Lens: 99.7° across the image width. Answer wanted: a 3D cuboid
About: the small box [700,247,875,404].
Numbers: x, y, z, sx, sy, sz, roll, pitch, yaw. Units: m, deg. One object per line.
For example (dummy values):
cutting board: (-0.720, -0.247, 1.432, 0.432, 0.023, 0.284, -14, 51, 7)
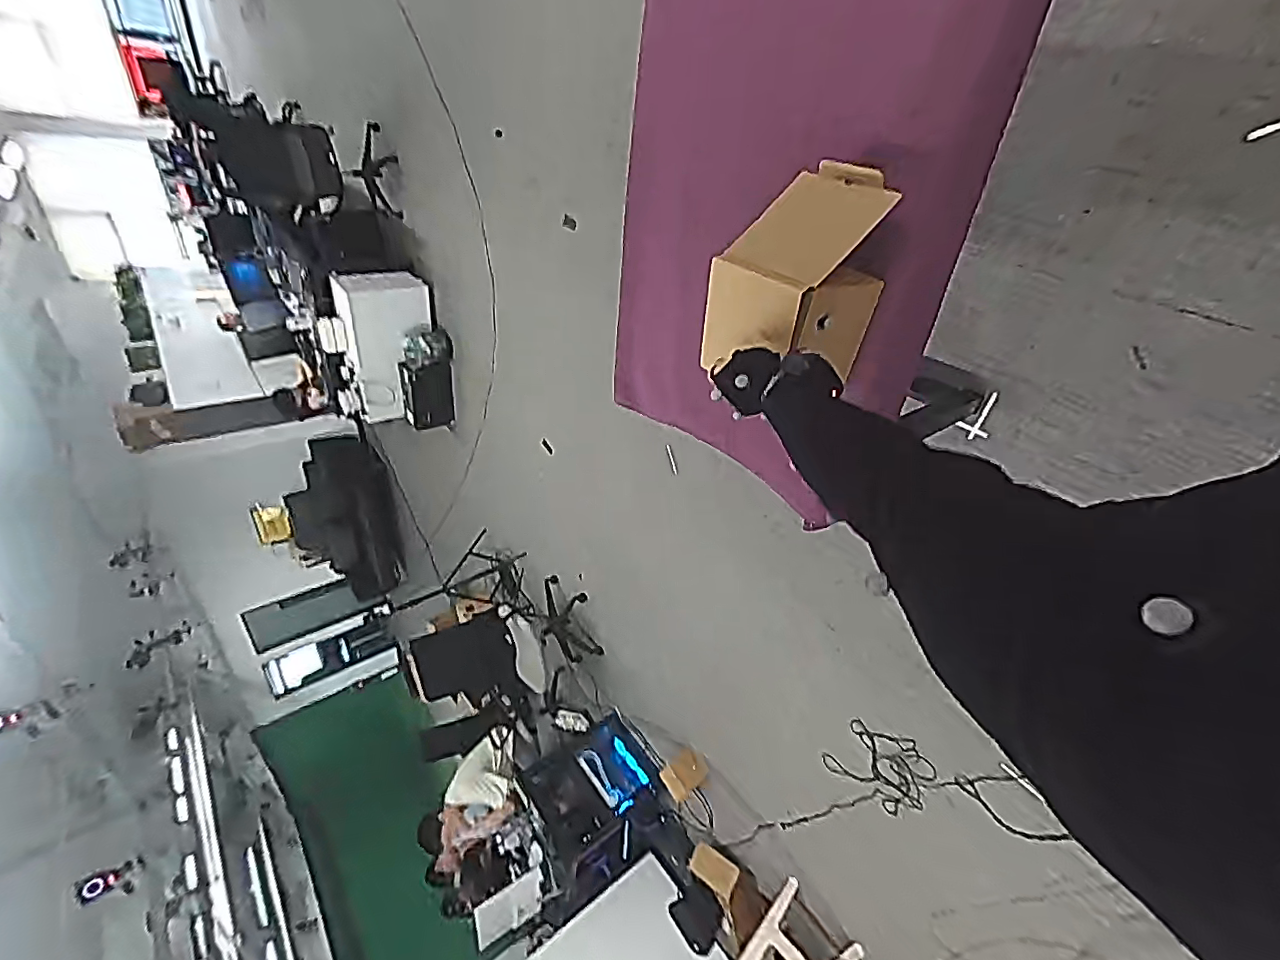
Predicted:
small box: (0.220, -0.240, 0.813, 0.168, 0.176, 0.179, 42, 136, 37)
